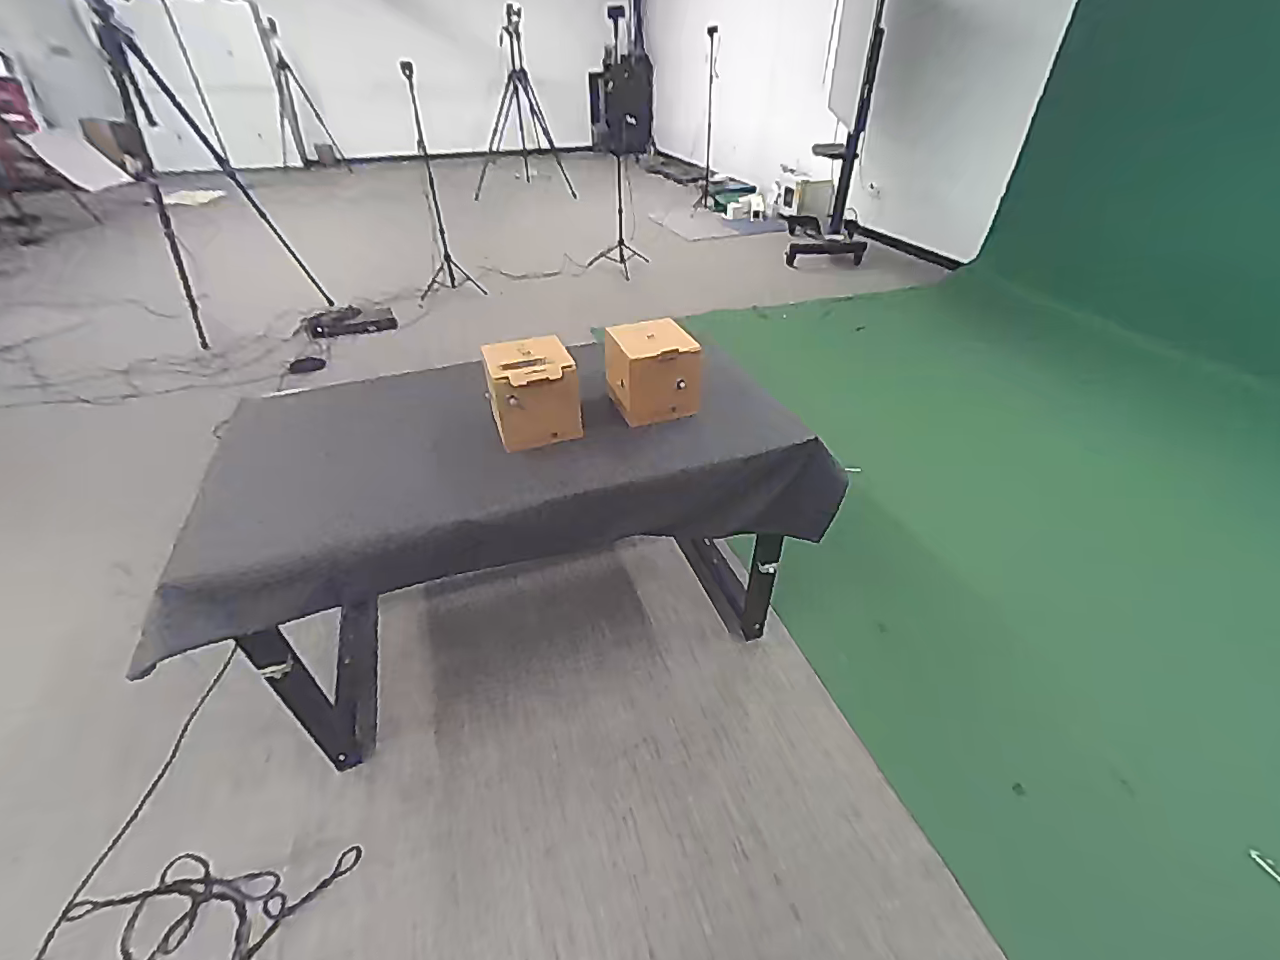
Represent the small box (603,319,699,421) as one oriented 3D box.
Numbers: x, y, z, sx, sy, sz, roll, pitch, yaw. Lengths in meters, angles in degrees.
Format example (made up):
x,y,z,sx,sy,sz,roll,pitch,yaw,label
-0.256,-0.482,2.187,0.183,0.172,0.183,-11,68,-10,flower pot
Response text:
x,y,z,sx,sy,sz,roll,pitch,yaw,label
0.022,-0.244,1.223,0.168,0.176,0.179,-13,39,-17,small box
